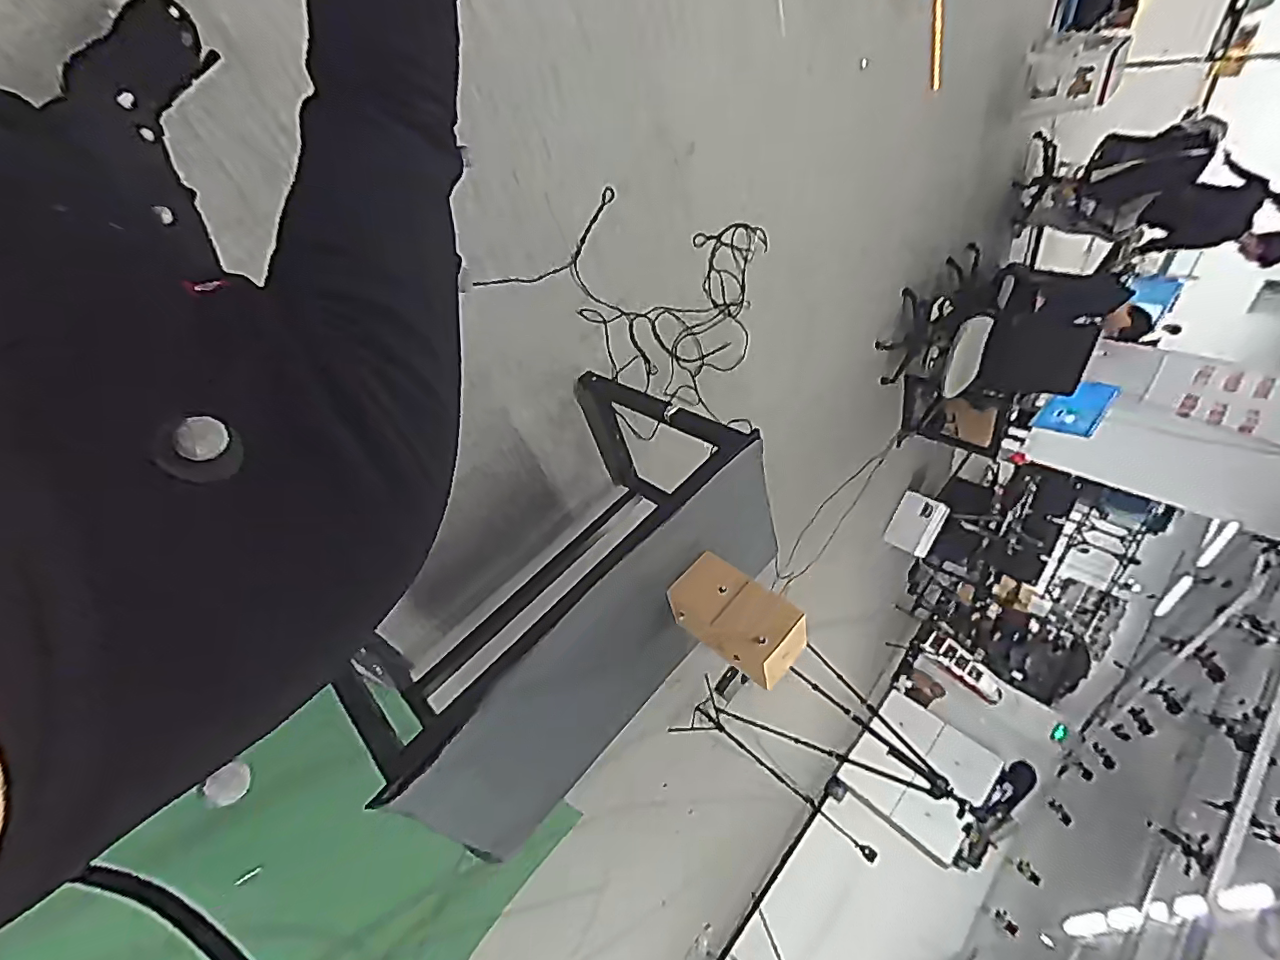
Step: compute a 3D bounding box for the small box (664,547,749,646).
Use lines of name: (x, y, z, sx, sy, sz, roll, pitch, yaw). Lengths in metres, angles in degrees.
small box: (0.193, 0.321, 1.525, 0.179, 0.176, 0.168, -41, 138, -24)

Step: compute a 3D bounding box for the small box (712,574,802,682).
small box: (0.303, 0.383, 1.417, 0.179, 0.176, 0.168, -42, 139, -23)
